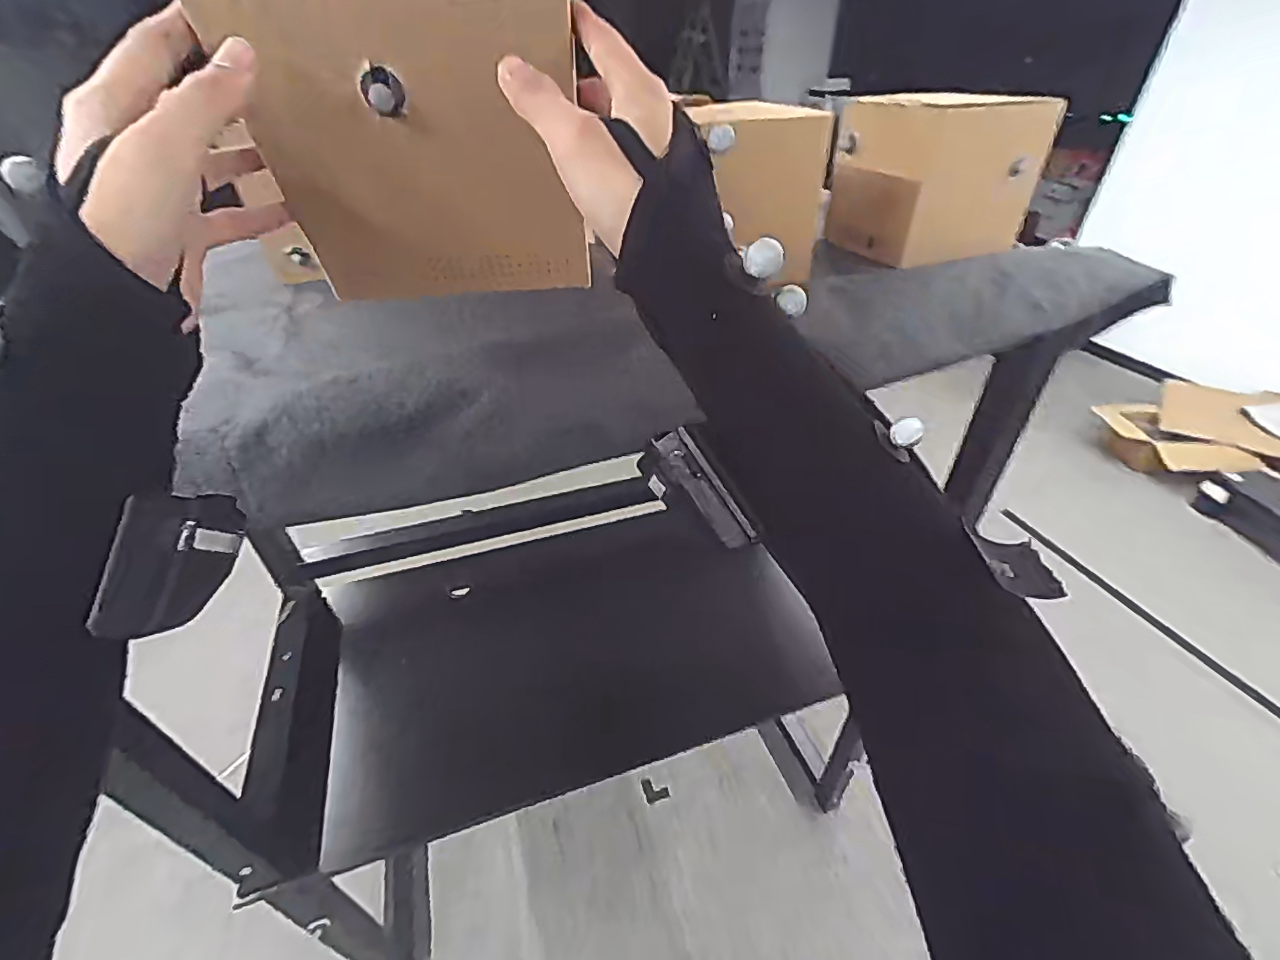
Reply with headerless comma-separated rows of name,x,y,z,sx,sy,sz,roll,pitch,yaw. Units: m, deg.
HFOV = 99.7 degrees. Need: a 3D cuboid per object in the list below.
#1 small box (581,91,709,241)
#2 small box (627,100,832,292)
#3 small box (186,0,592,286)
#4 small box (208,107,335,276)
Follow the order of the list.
small box,-0.015,-0.462,0.793,0.179,0.176,0.168,-13,38,-16
small box,0.088,-0.329,0.620,0.168,0.176,0.179,-13,39,-13
small box,-0.126,-0.242,0.345,0.179,0.176,0.168,-4,57,-4
small box,-0.395,-0.366,0.680,0.168,0.176,0.179,-15,40,-18
